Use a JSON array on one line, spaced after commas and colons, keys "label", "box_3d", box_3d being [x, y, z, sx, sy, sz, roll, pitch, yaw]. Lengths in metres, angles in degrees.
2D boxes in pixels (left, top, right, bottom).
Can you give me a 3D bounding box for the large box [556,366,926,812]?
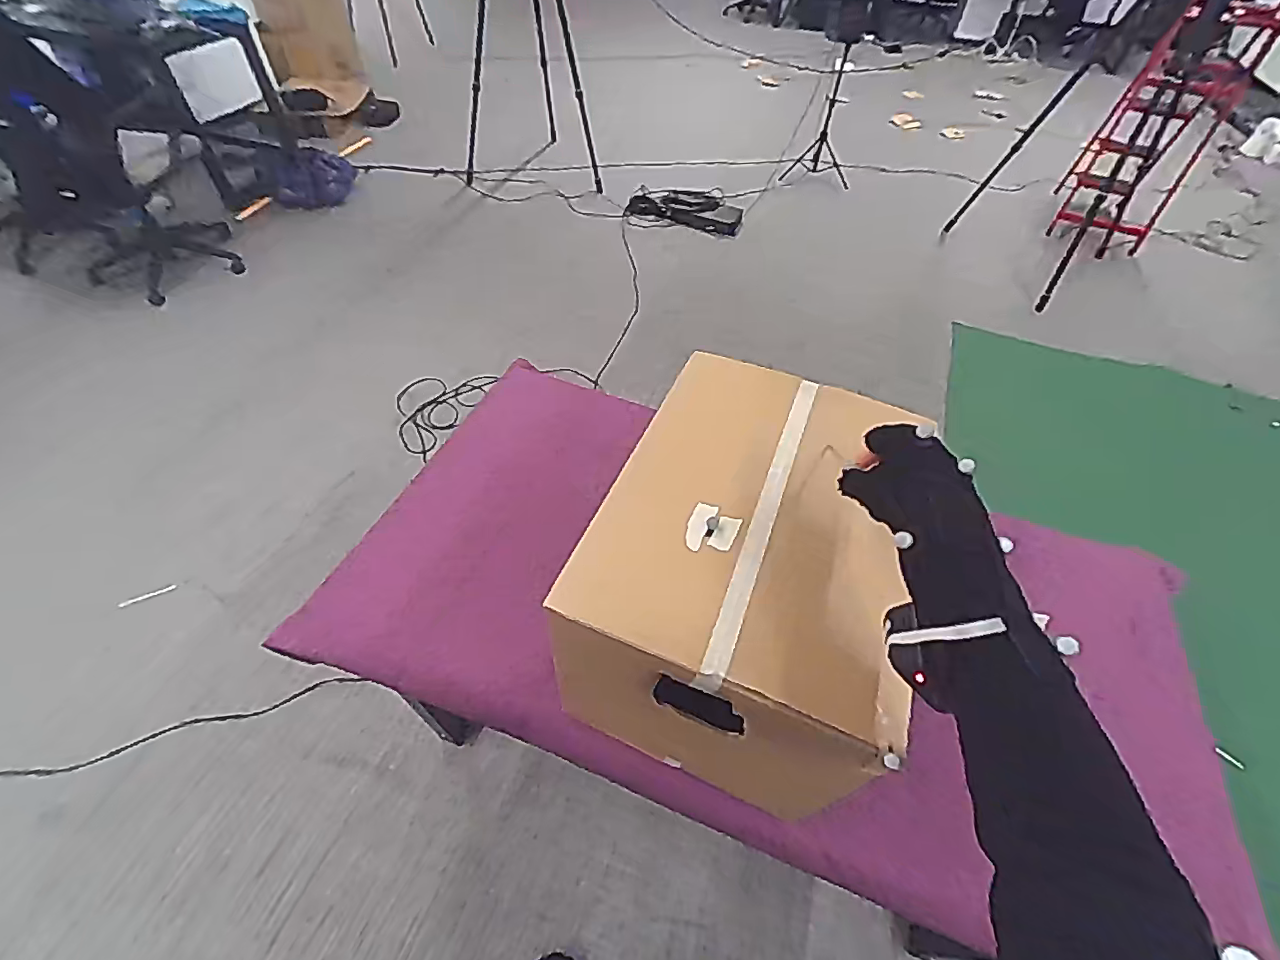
[{"label": "large box", "box_3d": [0.127, 0.128, 0.693, 0.320, 0.320, 0.408, 20, 53, 13]}]
